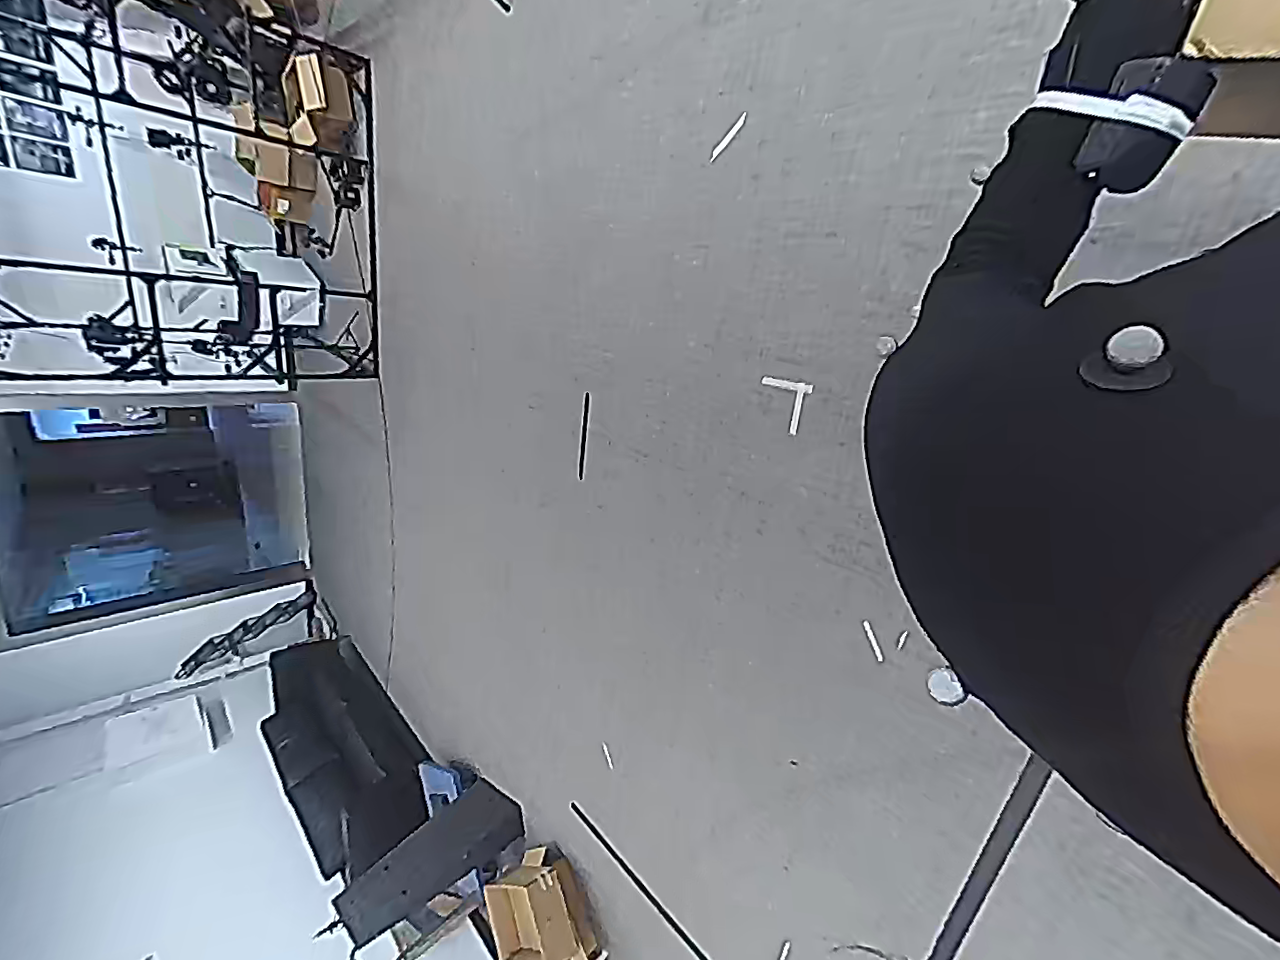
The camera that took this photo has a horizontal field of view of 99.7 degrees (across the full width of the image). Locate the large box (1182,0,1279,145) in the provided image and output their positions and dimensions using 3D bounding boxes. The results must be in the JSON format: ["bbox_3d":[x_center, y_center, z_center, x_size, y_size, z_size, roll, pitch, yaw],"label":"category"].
[{"bbox_3d":[0.597,-0.361,0.258,0.408,0.320,0.320,27,125,34],"label":"large box"}]
